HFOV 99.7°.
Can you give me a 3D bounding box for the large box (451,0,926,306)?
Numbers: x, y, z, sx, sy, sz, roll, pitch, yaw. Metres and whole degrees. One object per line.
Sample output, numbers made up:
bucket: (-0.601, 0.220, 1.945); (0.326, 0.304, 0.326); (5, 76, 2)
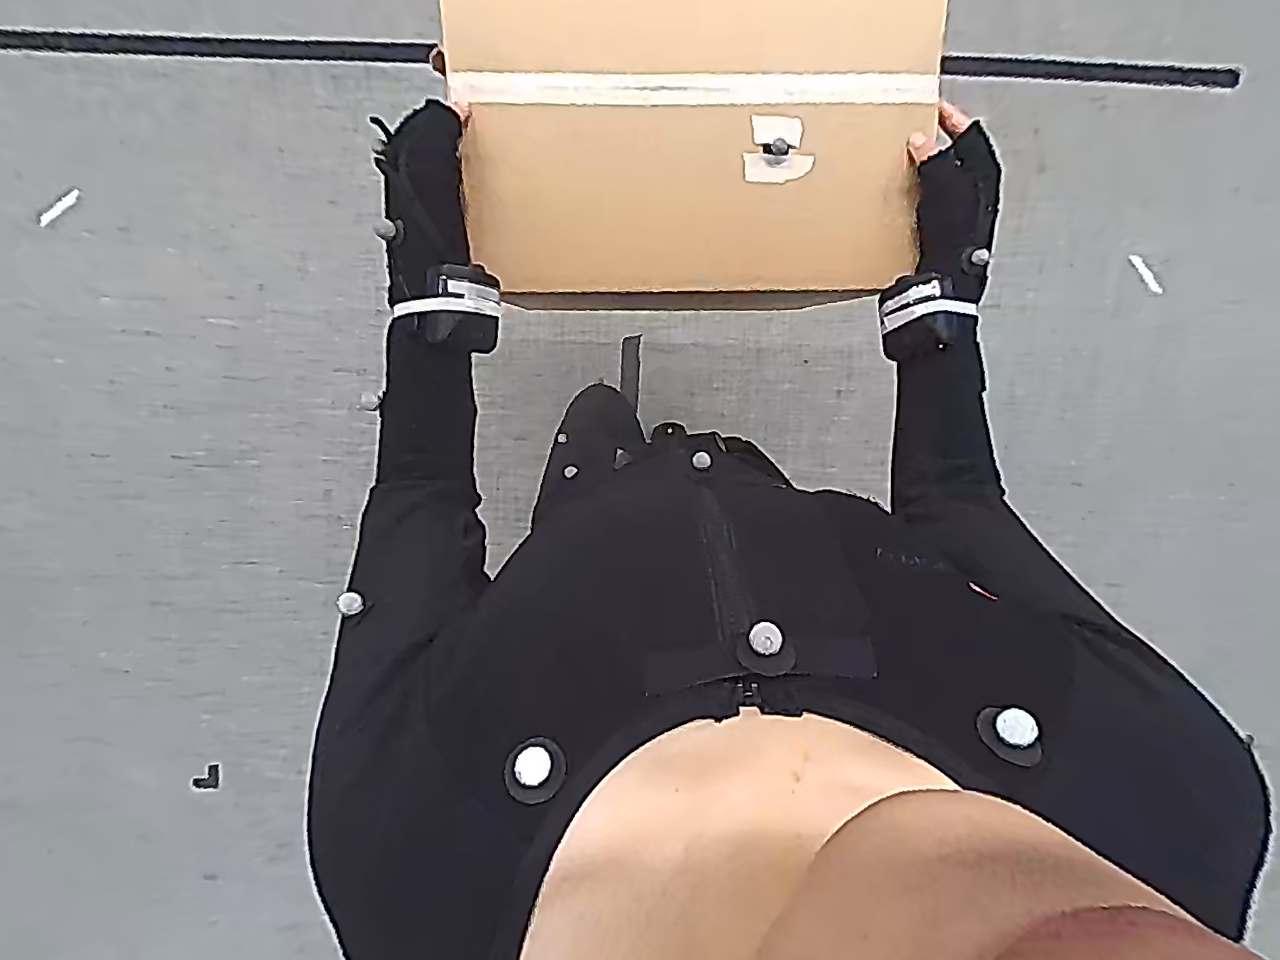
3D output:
large box: (0.035, -0.373, 0.609); (0.408, 0.320, 0.320); (-2, 105, -3)
